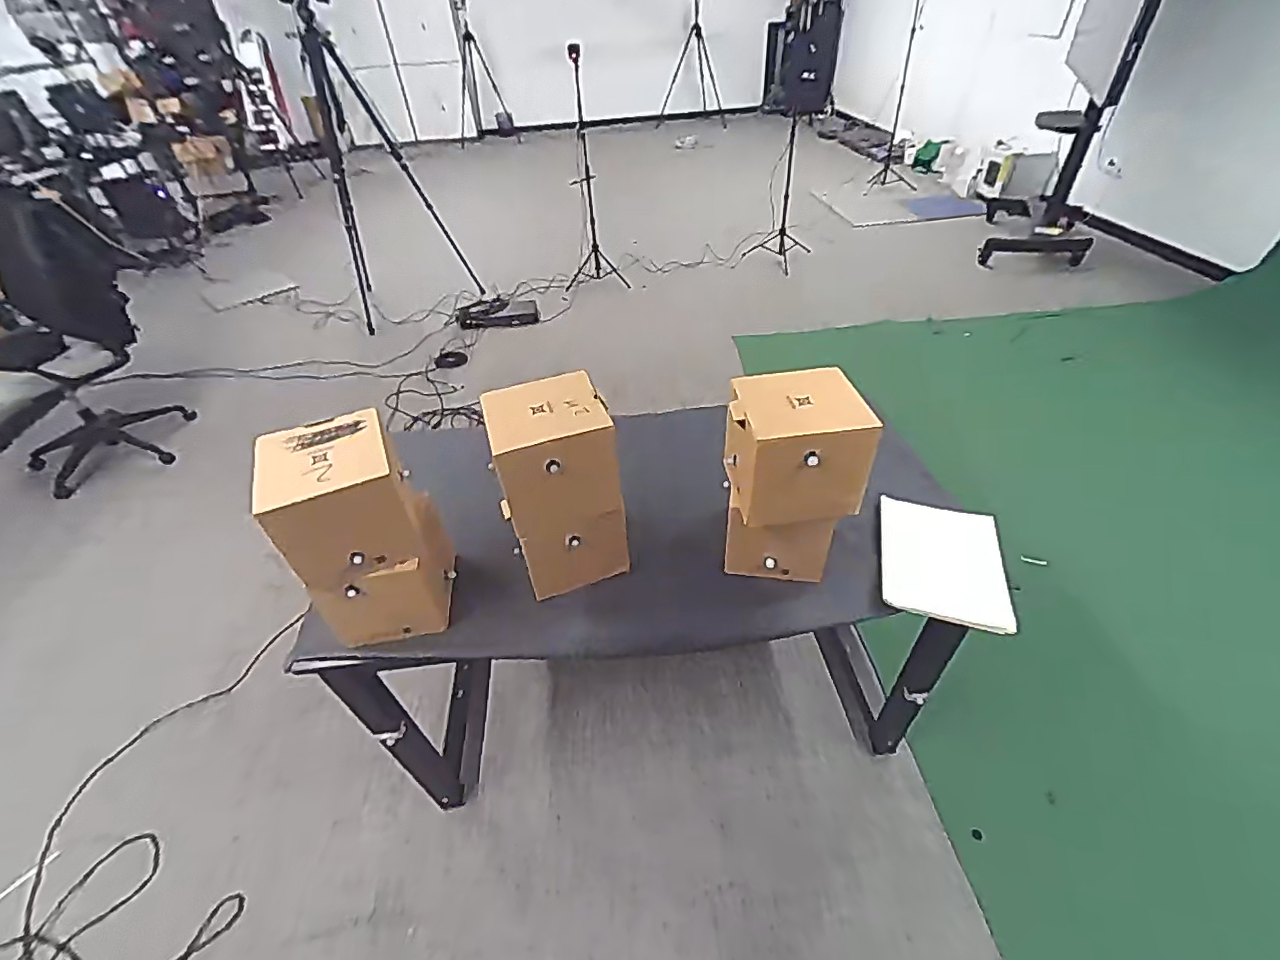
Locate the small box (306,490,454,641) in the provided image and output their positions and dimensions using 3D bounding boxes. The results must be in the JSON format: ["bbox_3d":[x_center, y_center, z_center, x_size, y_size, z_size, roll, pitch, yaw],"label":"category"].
[{"bbox_3d":[-0.425,0.145,0.919,0.168,0.176,0.179,-9,42,-6],"label":"small box"}]

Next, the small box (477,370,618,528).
[{"bbox_3d":[-0.145,-0.047,0.863,0.179,0.176,0.168,-15,44,-12],"label":"small box"}]

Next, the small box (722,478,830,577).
[{"bbox_3d":[0.236,0.047,0.967,0.168,0.176,0.179,4,43,11],"label":"small box"}]

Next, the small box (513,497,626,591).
[{"bbox_3d":[-0.136,0.073,0.976,0.179,0.176,0.168,-17,44,-14],"label":"small box"}]

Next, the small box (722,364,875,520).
[{"bbox_3d":[0.231,-0.058,0.840,0.179,0.176,0.168,-7,41,-2],"label":"small box"}]
